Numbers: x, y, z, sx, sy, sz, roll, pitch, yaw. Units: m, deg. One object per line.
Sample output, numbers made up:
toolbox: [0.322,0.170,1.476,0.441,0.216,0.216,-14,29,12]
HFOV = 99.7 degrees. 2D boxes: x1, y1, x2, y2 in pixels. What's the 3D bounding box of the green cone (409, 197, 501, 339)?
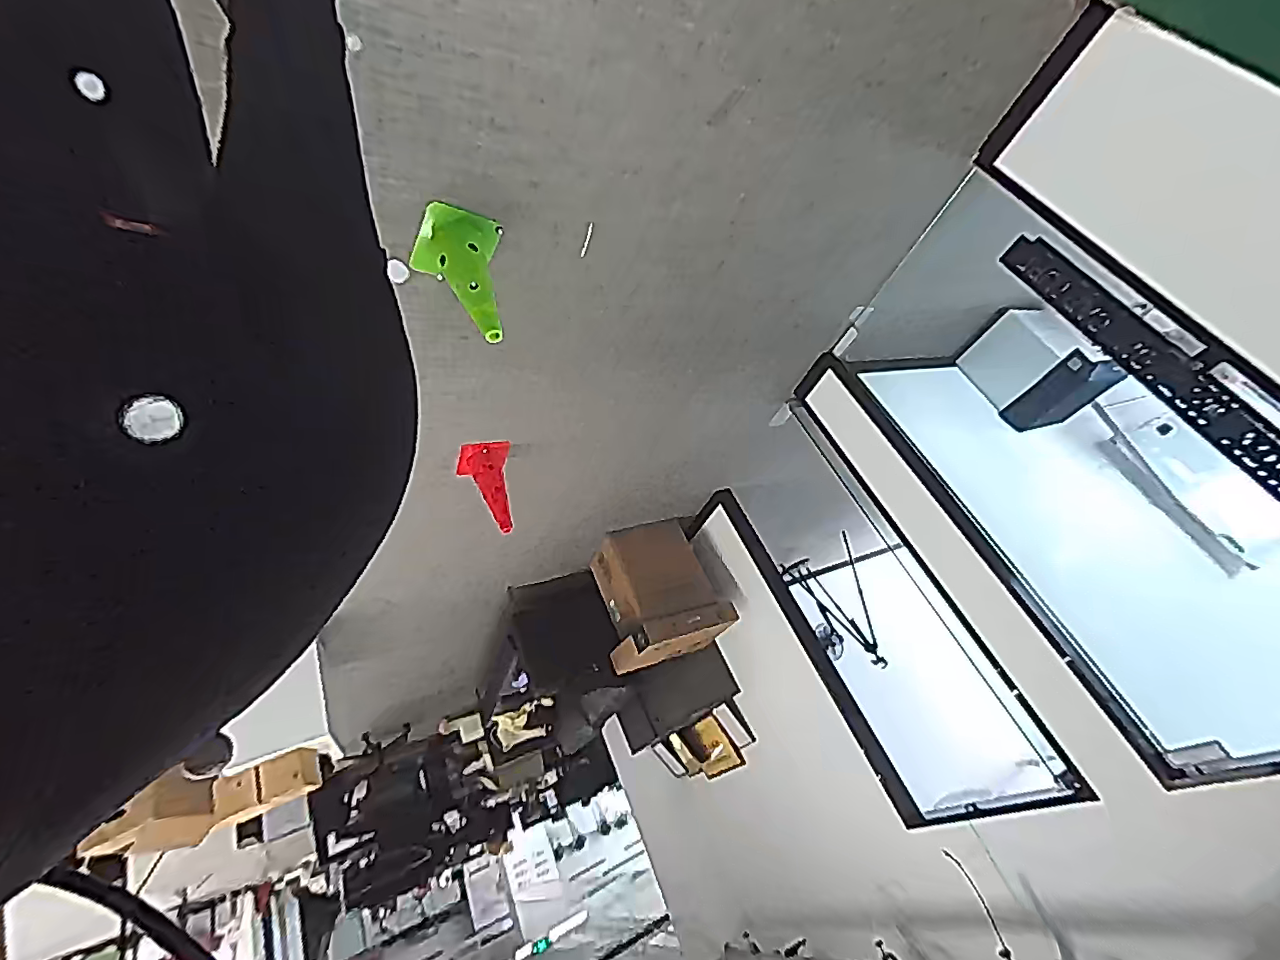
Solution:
green cone: [-0.419,-0.494,1.347,0.200,0.368,0.202,-1,144,-41]
